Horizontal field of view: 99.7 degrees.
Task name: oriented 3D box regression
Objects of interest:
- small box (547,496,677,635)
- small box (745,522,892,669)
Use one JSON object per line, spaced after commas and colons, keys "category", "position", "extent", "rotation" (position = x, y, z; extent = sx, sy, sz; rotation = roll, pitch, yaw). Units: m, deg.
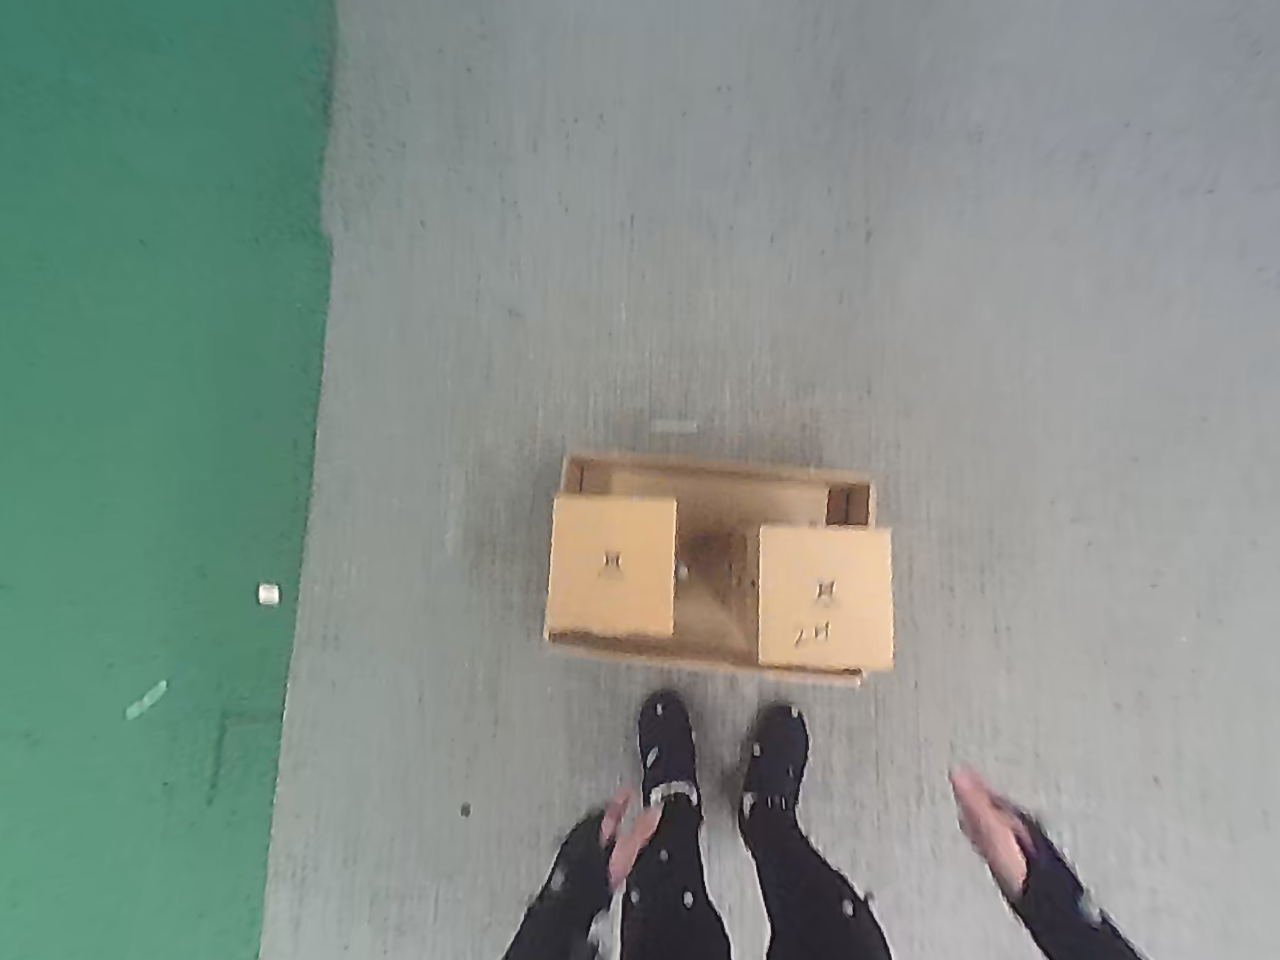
{"category": "small box", "position": [-0.031, 0.122, 0.787], "extent": [0.168, 0.176, 0.179], "rotation": [1, 82, 4]}
{"category": "small box", "position": [0.237, 0.155, 0.757], "extent": [0.168, 0.176, 0.179], "rotation": [1, 82, 6]}
